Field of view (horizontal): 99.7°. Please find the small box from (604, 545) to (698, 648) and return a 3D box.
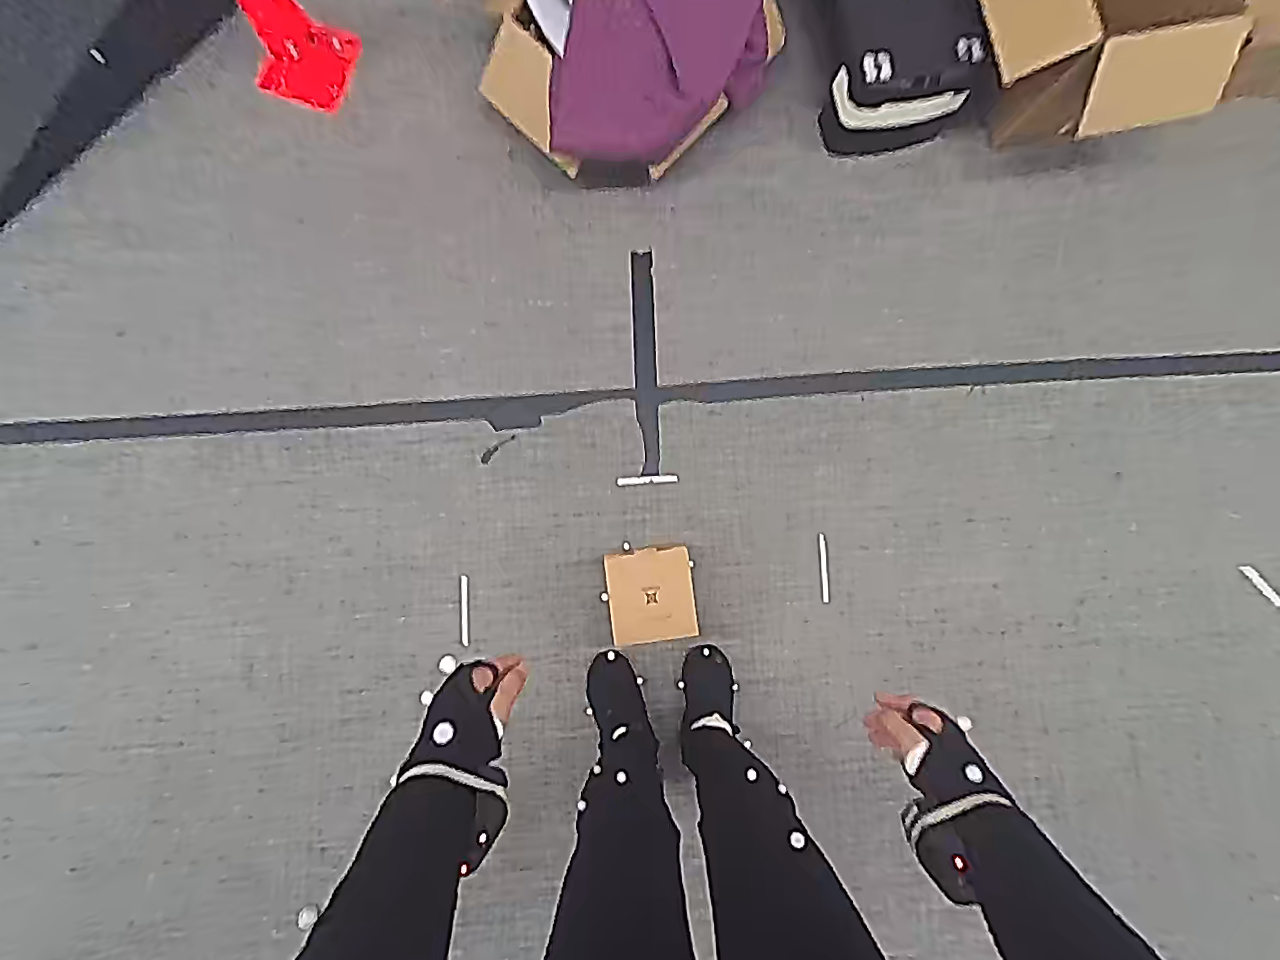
[{"bbox_3d":[0.018,0.229,1.110,0.168,0.176,0.179,-8,87,-1],"label":"small box"}]
